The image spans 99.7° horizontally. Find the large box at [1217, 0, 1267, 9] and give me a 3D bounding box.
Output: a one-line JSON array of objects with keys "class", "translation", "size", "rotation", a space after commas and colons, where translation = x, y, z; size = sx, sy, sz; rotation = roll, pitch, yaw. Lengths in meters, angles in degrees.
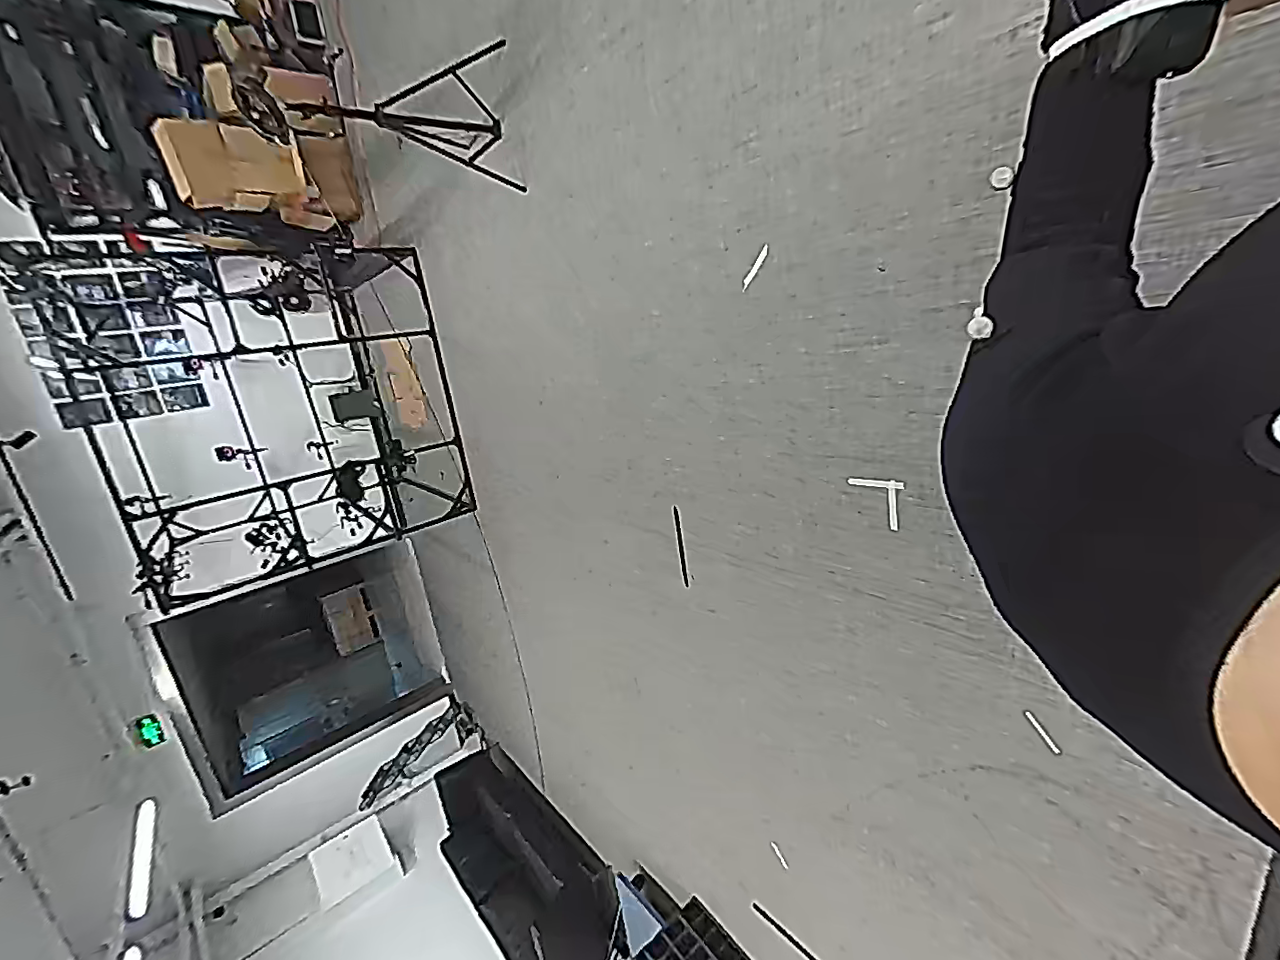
[{"class": "large box", "translation": [0.549, -0.503, 0.237], "size": [0.408, 0.320, 0.320], "rotation": [11, 124, 48]}]
